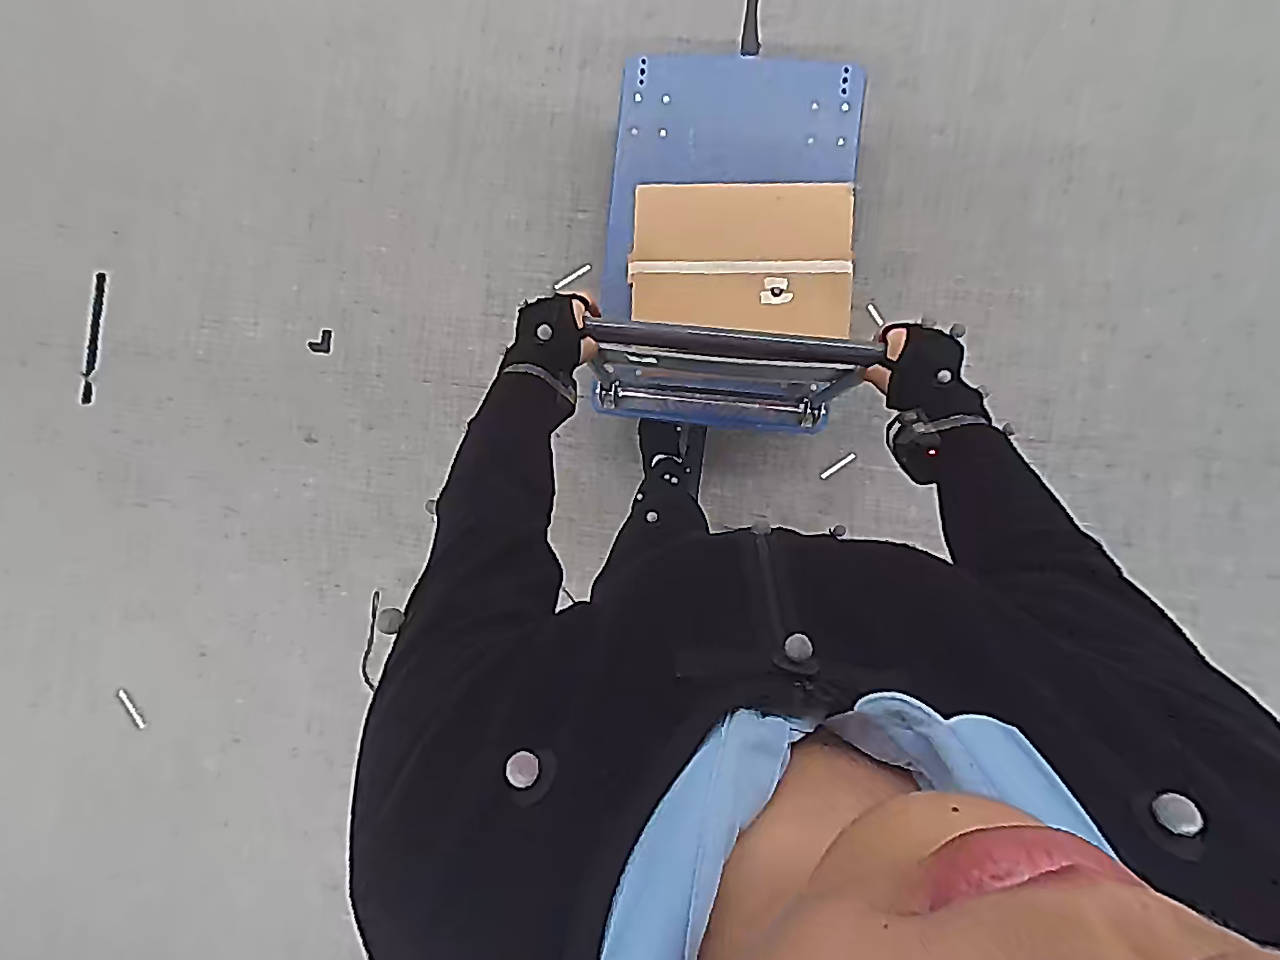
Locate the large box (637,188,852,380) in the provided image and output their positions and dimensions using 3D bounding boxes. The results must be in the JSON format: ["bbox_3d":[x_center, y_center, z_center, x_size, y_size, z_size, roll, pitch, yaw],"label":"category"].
[{"bbox_3d":[0.200,-0.395,1.165,0.408,0.320,0.320,2,92,3],"label":"large box"}]
